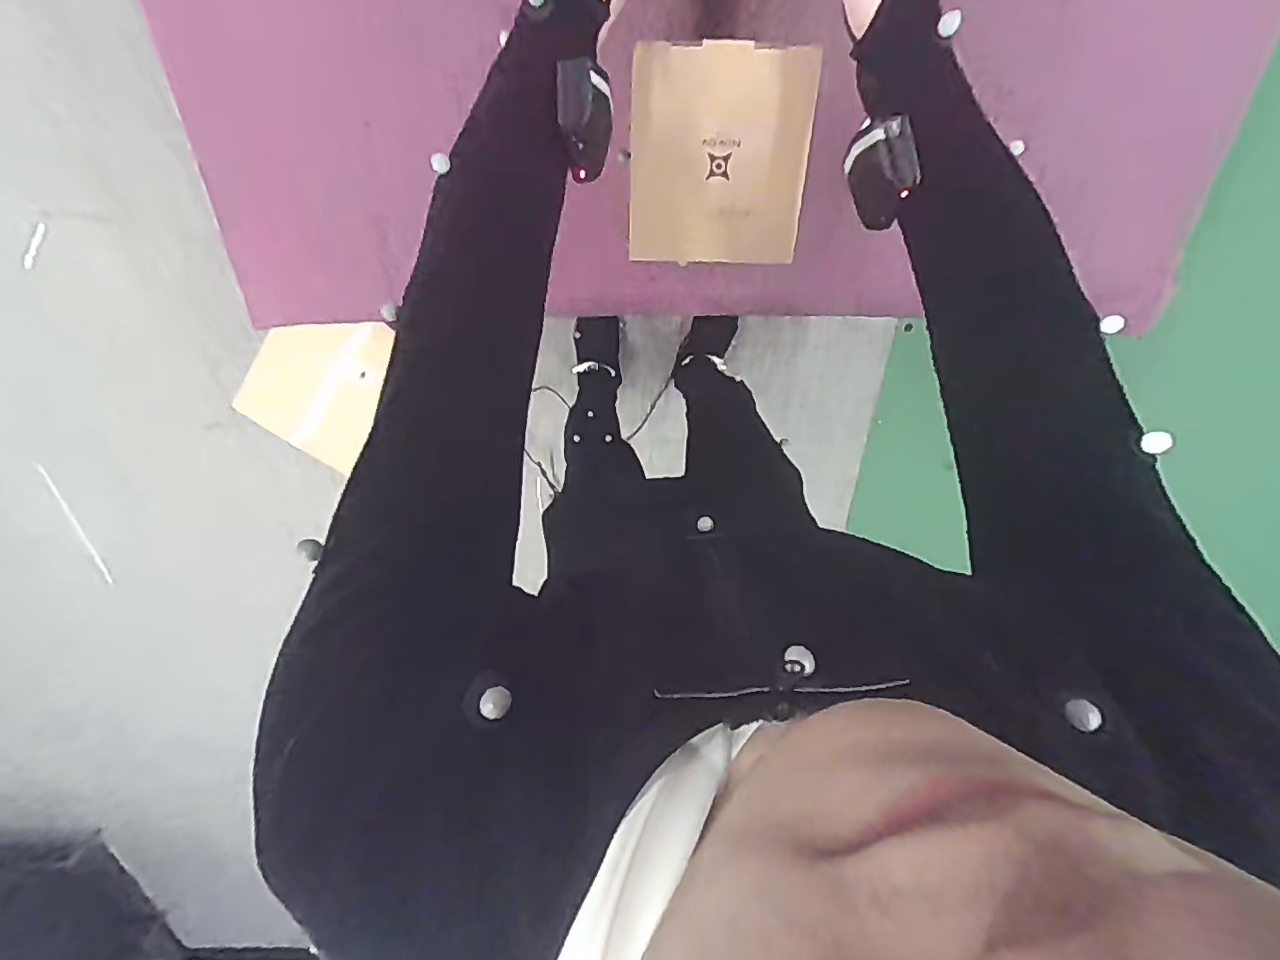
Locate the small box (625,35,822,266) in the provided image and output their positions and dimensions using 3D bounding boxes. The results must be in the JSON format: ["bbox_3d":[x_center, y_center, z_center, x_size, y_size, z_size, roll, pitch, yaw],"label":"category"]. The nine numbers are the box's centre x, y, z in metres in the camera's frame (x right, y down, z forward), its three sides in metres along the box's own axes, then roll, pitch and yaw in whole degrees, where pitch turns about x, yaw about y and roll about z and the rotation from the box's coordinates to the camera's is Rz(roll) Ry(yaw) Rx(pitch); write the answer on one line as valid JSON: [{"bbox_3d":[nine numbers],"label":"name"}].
[{"bbox_3d":[0.071,-0.327,0.561,0.168,0.176,0.179,2,118,0],"label":"small box"}]
